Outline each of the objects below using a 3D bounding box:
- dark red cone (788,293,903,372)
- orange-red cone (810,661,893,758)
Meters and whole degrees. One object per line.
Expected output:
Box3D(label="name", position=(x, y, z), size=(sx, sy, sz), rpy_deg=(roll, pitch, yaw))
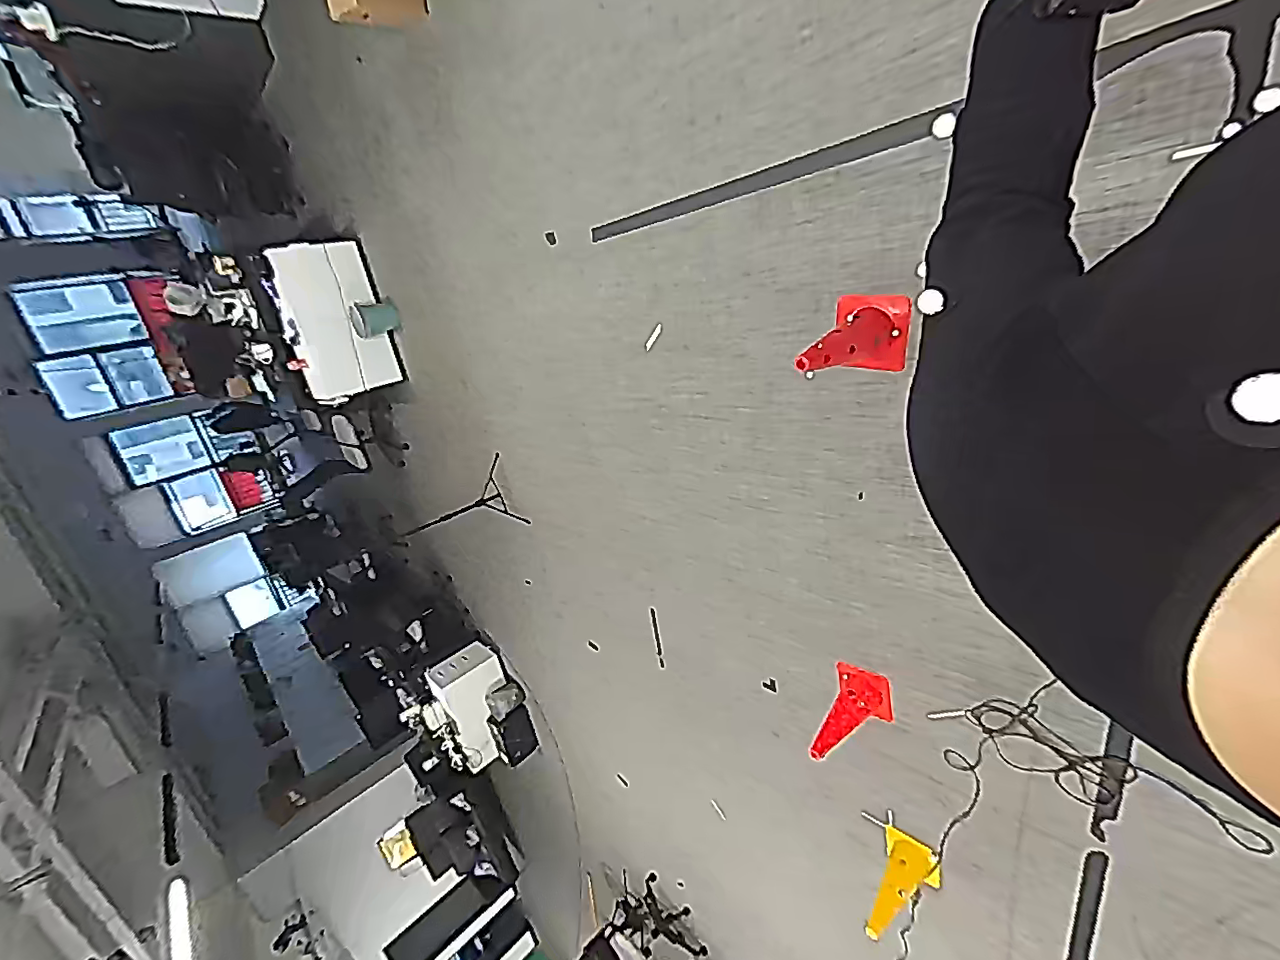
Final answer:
Box3D(label="dark red cone", position=(0.493, -0.340, 1.366), size=(0.201, 0.394, 0.202), rpy_deg=(18, 125, 42))
Box3D(label="orange-red cone", position=(0.703, 0.835, 1.881), size=(0.198, 0.360, 0.199), rpy_deg=(9, 120, 49))
